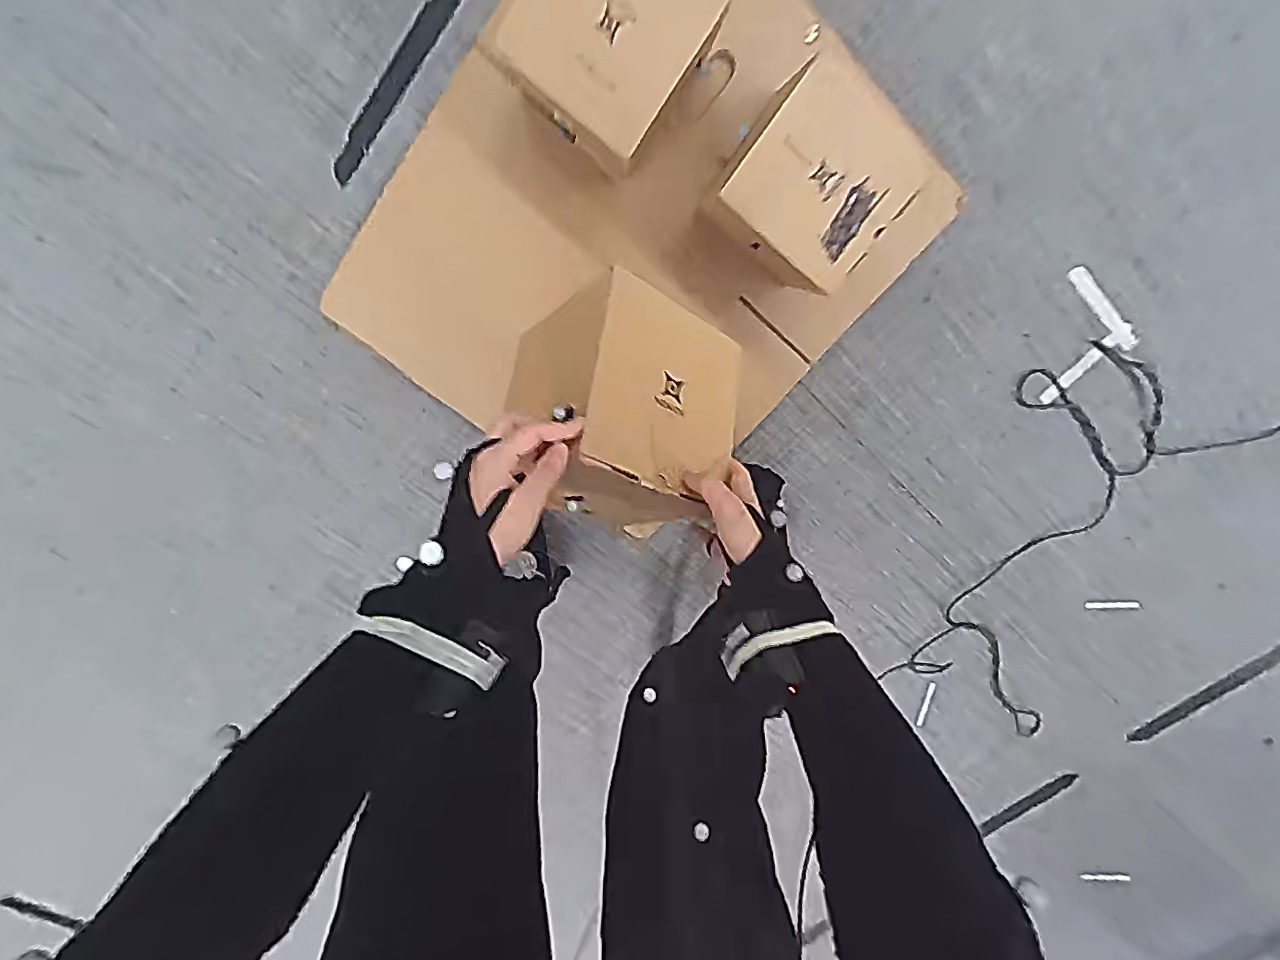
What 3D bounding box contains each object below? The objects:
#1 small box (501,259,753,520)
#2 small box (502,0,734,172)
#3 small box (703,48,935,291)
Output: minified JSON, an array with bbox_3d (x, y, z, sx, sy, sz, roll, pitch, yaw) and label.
[{"bbox_3d":[-0.014,-0.066,0.521,0.168,0.176,0.179,20,71,-37],"label":"small box"},{"bbox_3d":[-0.024,-0.476,0.592,0.168,0.176,0.179,33,109,-13],"label":"small box"},{"bbox_3d":[0.199,-0.356,0.652,0.179,0.176,0.168,34,108,-15],"label":"small box"}]
